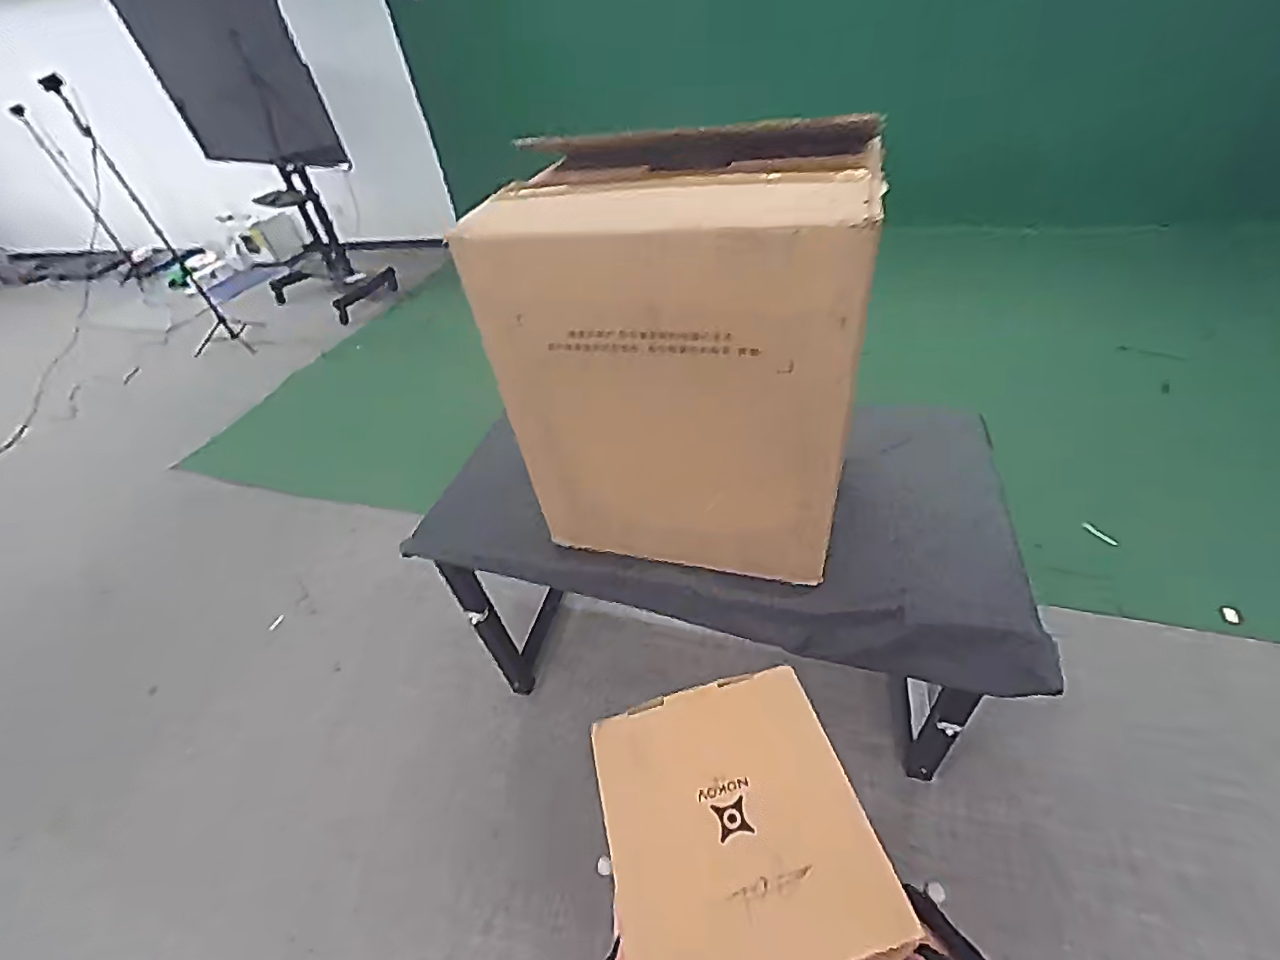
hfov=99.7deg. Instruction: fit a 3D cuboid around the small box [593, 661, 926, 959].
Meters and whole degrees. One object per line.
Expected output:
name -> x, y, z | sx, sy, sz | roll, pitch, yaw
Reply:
small box -> 0.072, 0.275, 0.406 | 0.168, 0.176, 0.179 | -17, 41, -6
